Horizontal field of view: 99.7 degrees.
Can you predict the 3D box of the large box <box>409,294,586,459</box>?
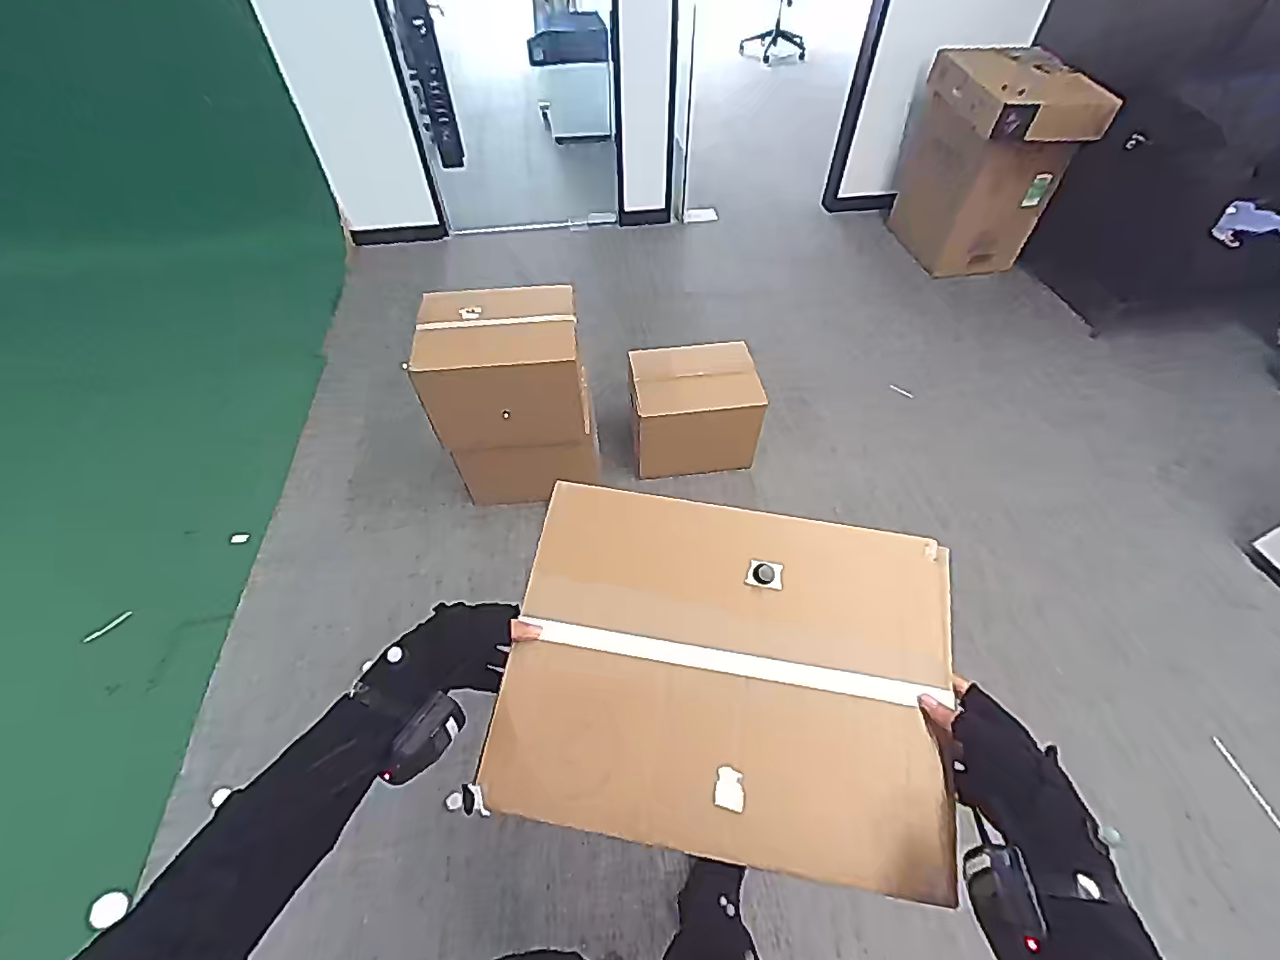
[{"bbox_3d":[-0.371,-0.283,1.508,0.408,0.320,0.320,-5,53,-3],"label":"large box"}]
